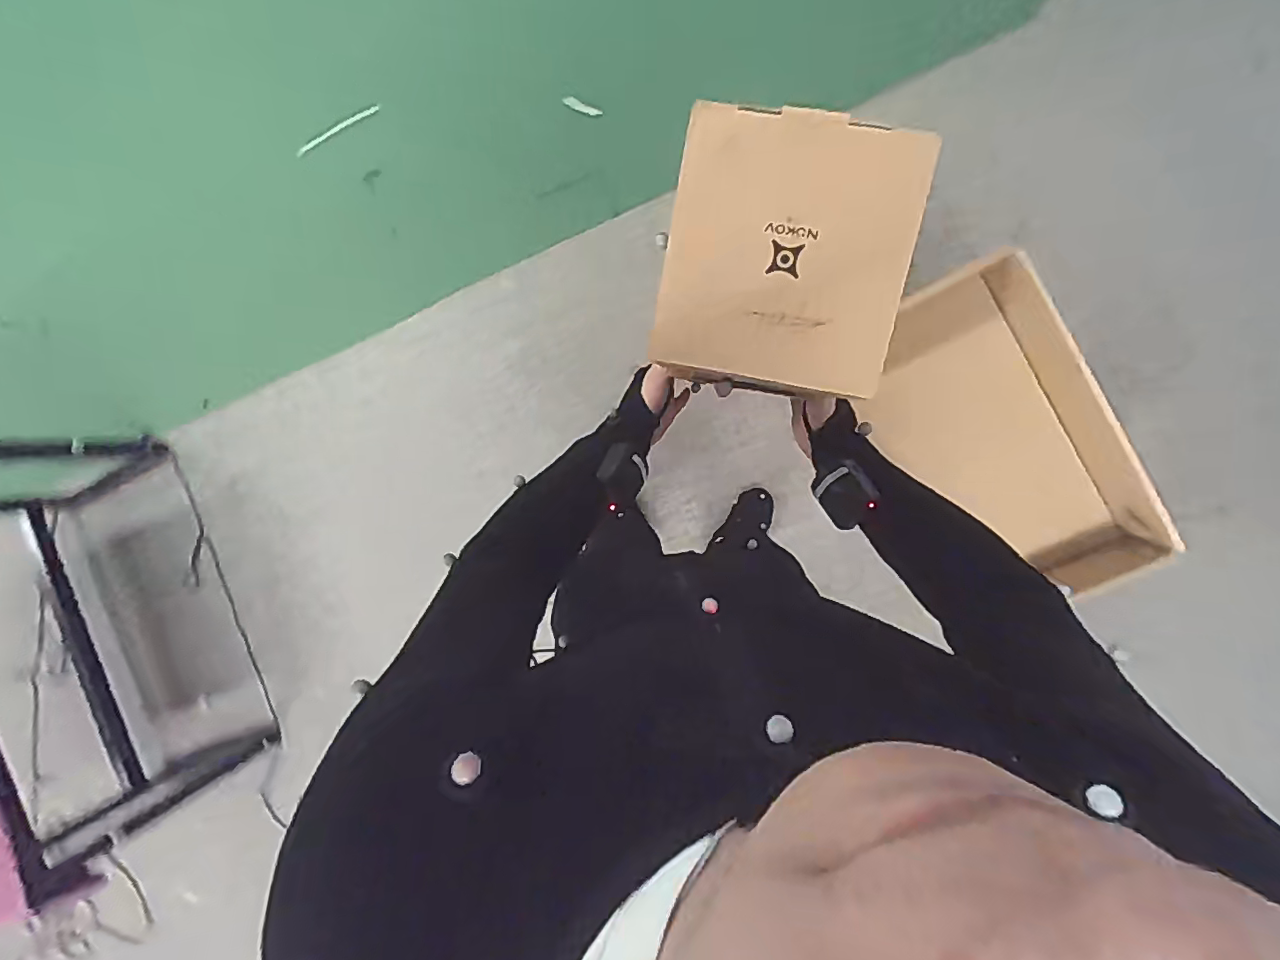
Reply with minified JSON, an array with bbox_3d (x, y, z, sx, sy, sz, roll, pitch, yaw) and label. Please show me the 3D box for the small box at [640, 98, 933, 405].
[{"bbox_3d":[0.100,-0.162,0.438,0.168,0.176,0.179,10,101,4],"label":"small box"}]
